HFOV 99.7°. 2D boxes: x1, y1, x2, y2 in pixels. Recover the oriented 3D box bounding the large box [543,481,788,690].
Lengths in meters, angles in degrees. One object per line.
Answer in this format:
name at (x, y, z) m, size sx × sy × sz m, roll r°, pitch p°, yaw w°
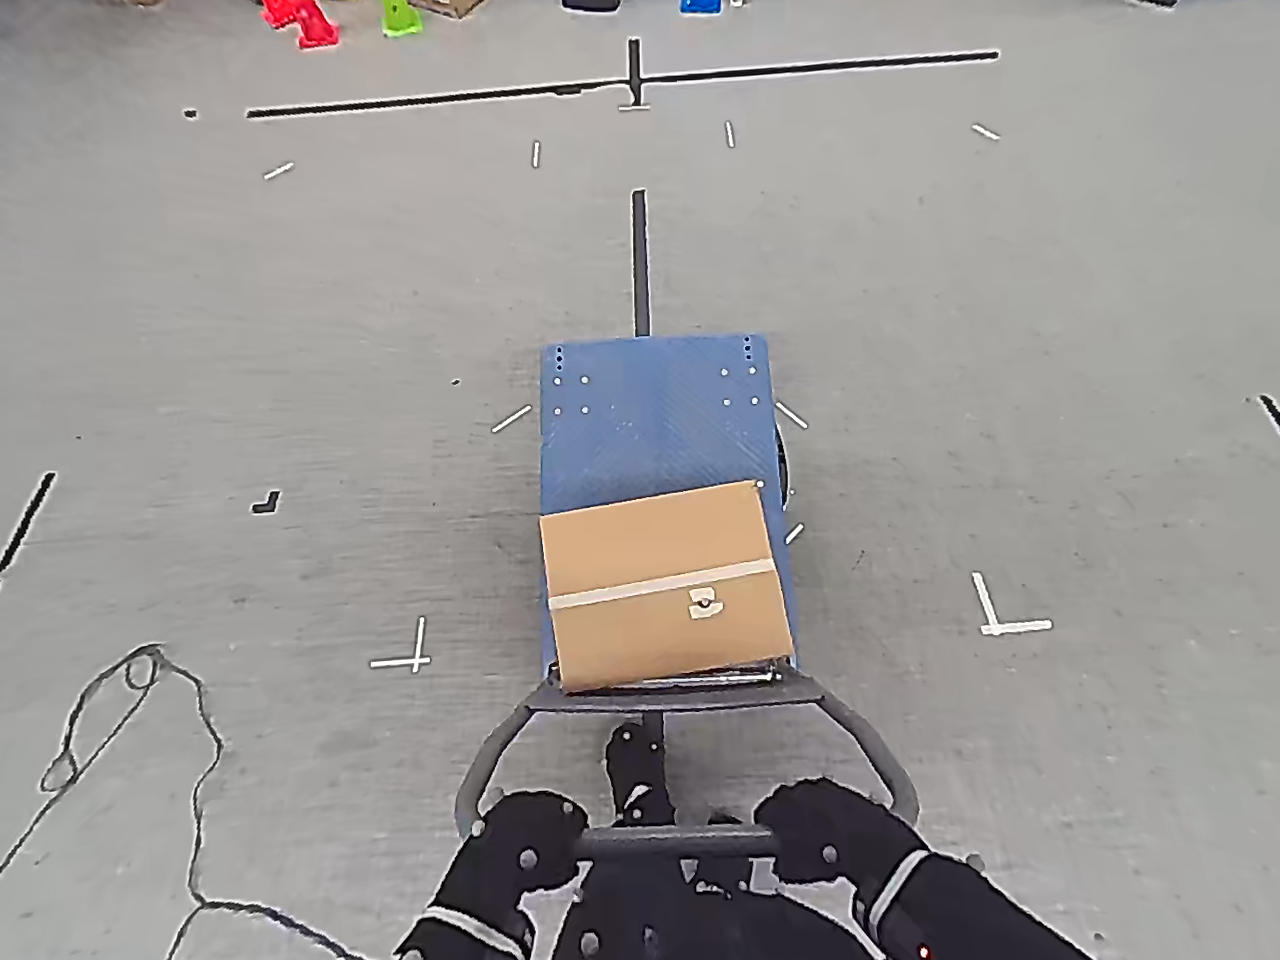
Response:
large box at (0.042, 0.217, 1.123) m, size 0.408 × 0.320 × 0.320 m, roll -10°, pitch 78°, yaw -1°
